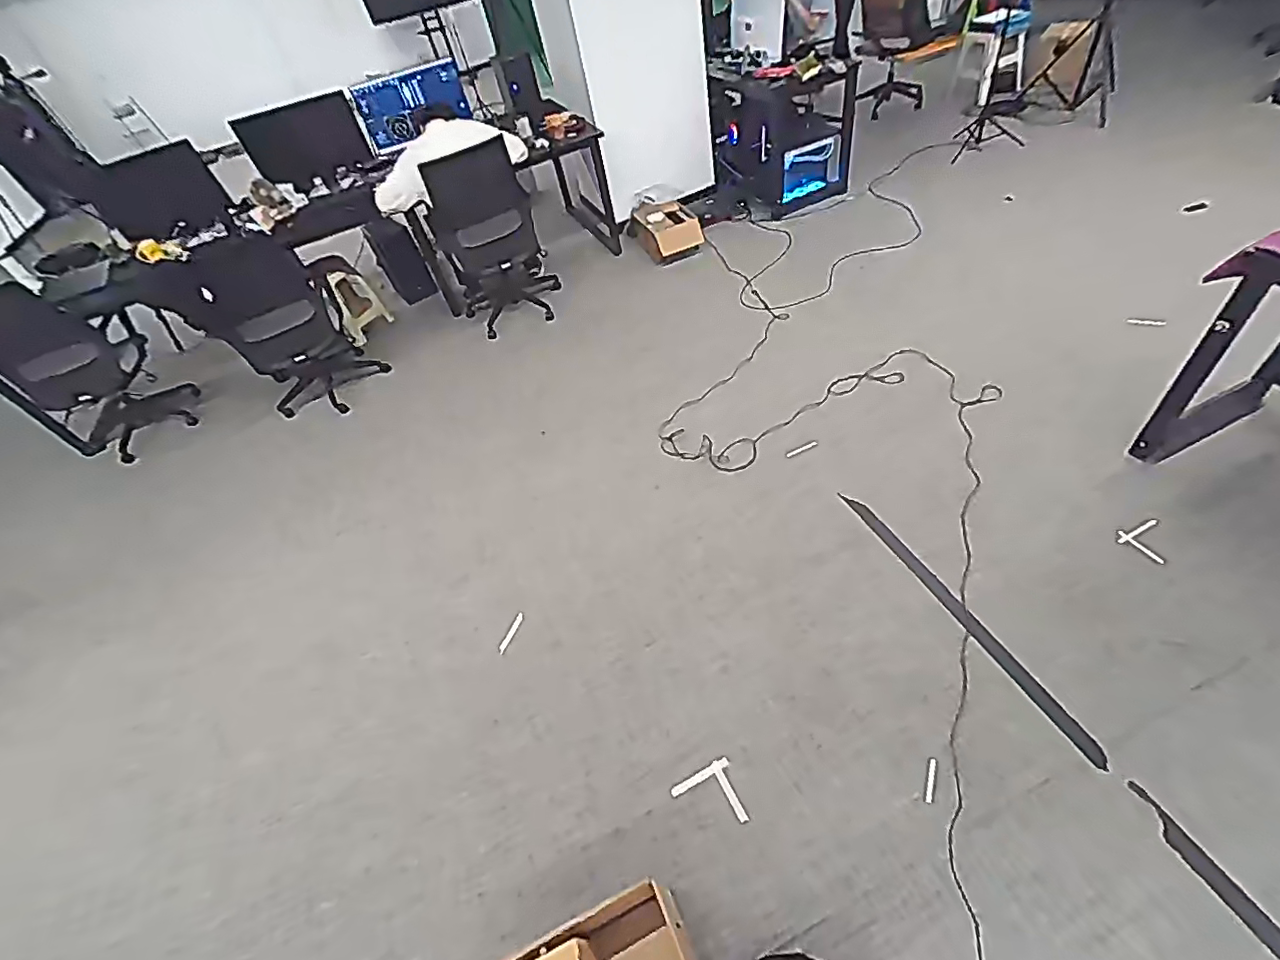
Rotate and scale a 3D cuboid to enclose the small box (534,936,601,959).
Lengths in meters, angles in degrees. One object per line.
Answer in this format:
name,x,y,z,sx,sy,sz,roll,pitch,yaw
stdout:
small box,-0.165,1.094,1.124,0.179,0.176,0.168,-23,48,-10
